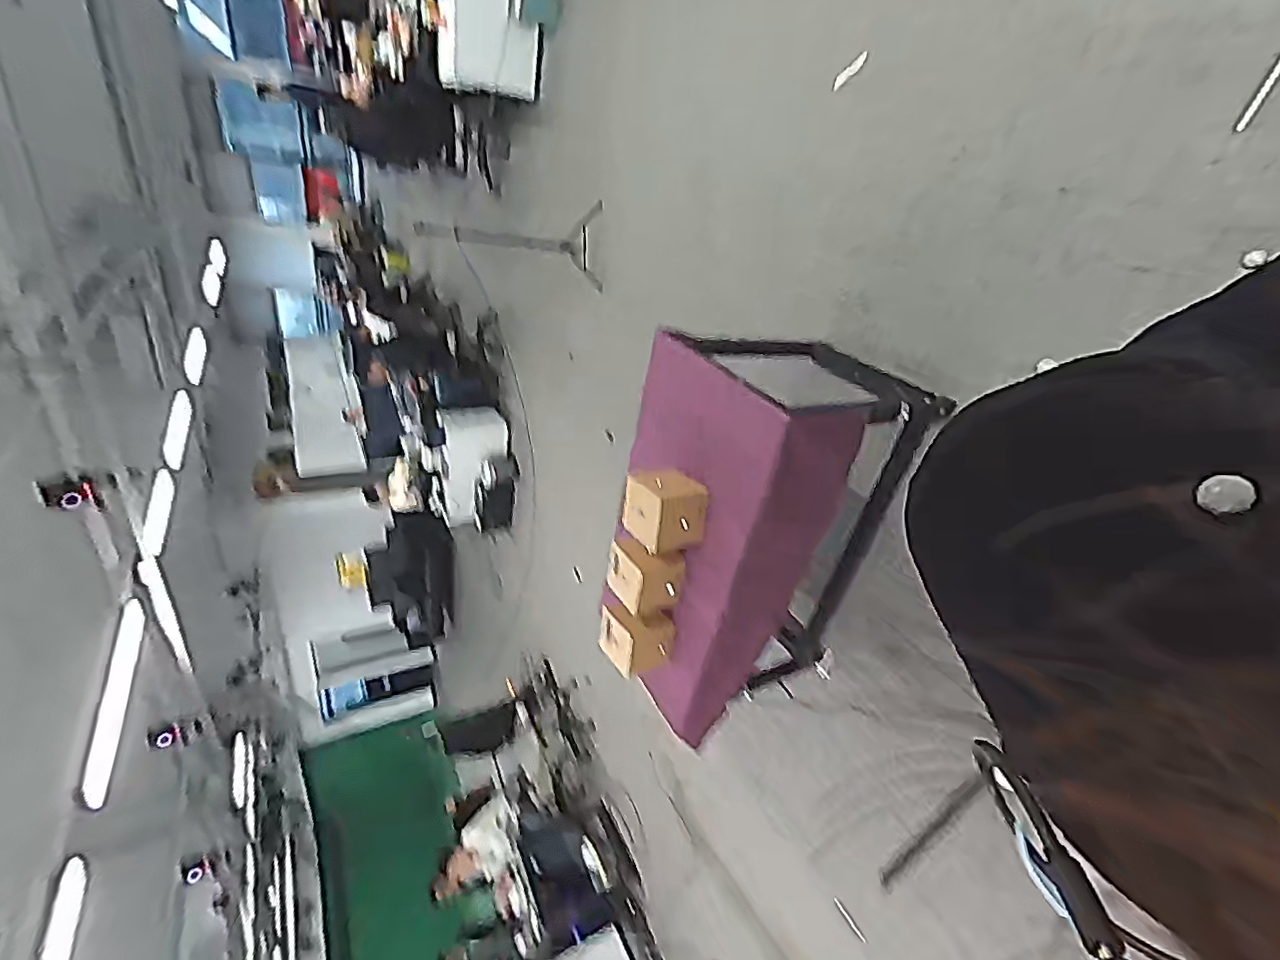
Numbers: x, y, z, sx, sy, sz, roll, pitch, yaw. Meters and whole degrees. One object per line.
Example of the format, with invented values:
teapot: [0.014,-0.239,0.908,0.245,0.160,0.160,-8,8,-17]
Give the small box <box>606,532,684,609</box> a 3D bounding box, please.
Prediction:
small box: [0.013,0.276,1.710,0.179,0.176,0.168,42,131,45]

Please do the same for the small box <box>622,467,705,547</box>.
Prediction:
small box: [0.068,0.069,1.572,0.179,0.176,0.168,37,127,50]
